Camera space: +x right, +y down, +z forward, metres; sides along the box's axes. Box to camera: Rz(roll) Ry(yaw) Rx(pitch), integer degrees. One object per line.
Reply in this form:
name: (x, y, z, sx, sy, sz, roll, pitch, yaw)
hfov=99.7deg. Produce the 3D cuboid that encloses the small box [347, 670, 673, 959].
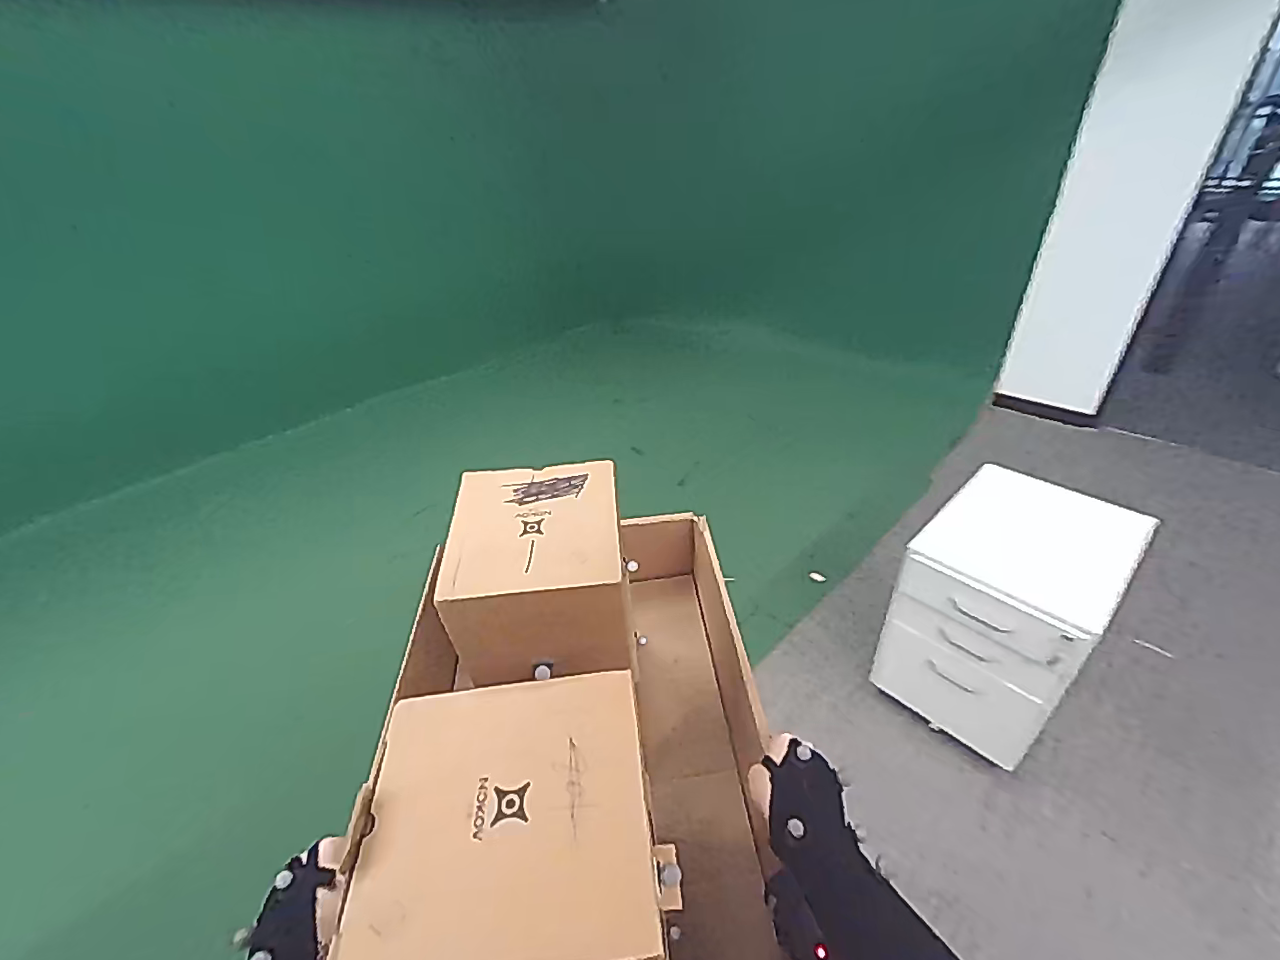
small box: (-0.072, 0.265, 0.393, 0.179, 0.176, 0.168, -5, 39, -4)

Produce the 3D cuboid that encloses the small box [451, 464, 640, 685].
small box: (-0.088, 0.104, 0.589, 0.168, 0.176, 0.179, -4, 41, -2)
